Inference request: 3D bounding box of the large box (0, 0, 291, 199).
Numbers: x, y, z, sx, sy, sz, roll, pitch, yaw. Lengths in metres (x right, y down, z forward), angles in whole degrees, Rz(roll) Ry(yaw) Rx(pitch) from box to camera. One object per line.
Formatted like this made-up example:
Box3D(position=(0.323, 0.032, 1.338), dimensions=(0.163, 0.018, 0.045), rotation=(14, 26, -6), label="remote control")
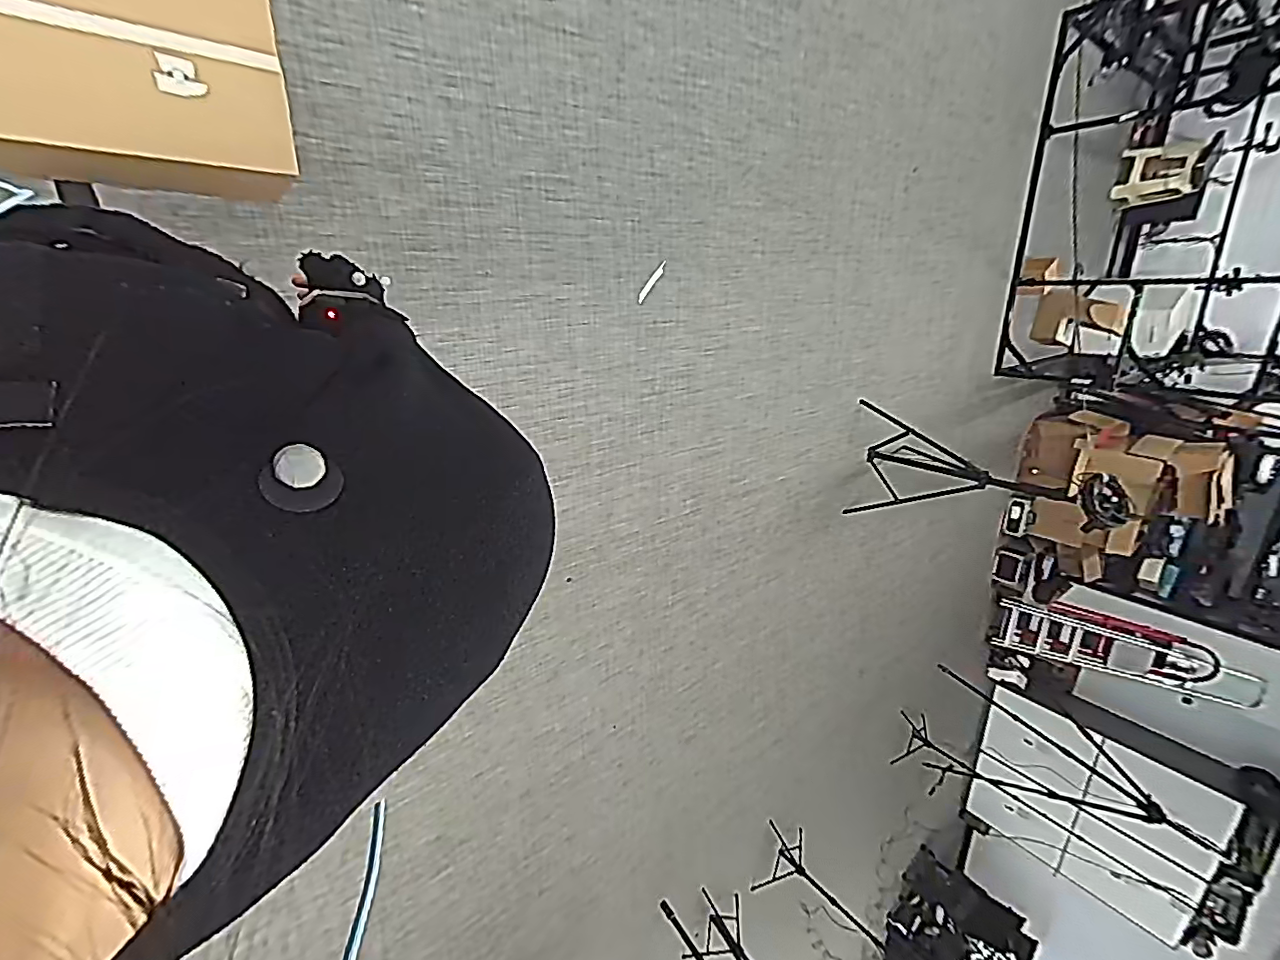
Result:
Box3D(position=(-0.839, -0.657, 0.856), dimensions=(0.408, 0.320, 0.320), rotation=(-14, 113, -37), label="large box")
